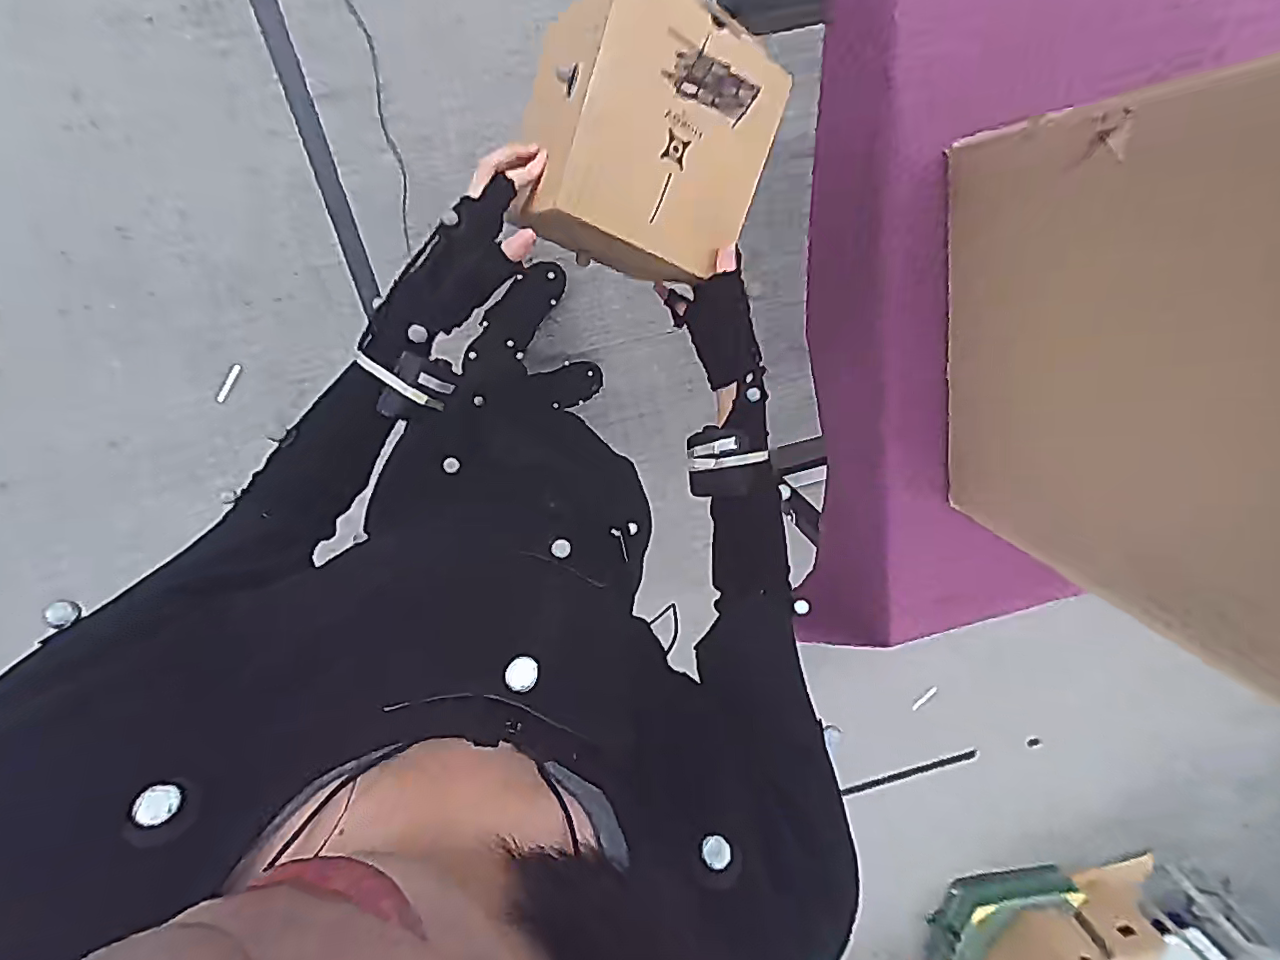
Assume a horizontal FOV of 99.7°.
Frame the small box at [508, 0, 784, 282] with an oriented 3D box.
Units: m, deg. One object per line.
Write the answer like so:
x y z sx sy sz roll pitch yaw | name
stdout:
-0.008 -0.297 0.494 0.168 0.176 0.179 13 102 -30 | small box
